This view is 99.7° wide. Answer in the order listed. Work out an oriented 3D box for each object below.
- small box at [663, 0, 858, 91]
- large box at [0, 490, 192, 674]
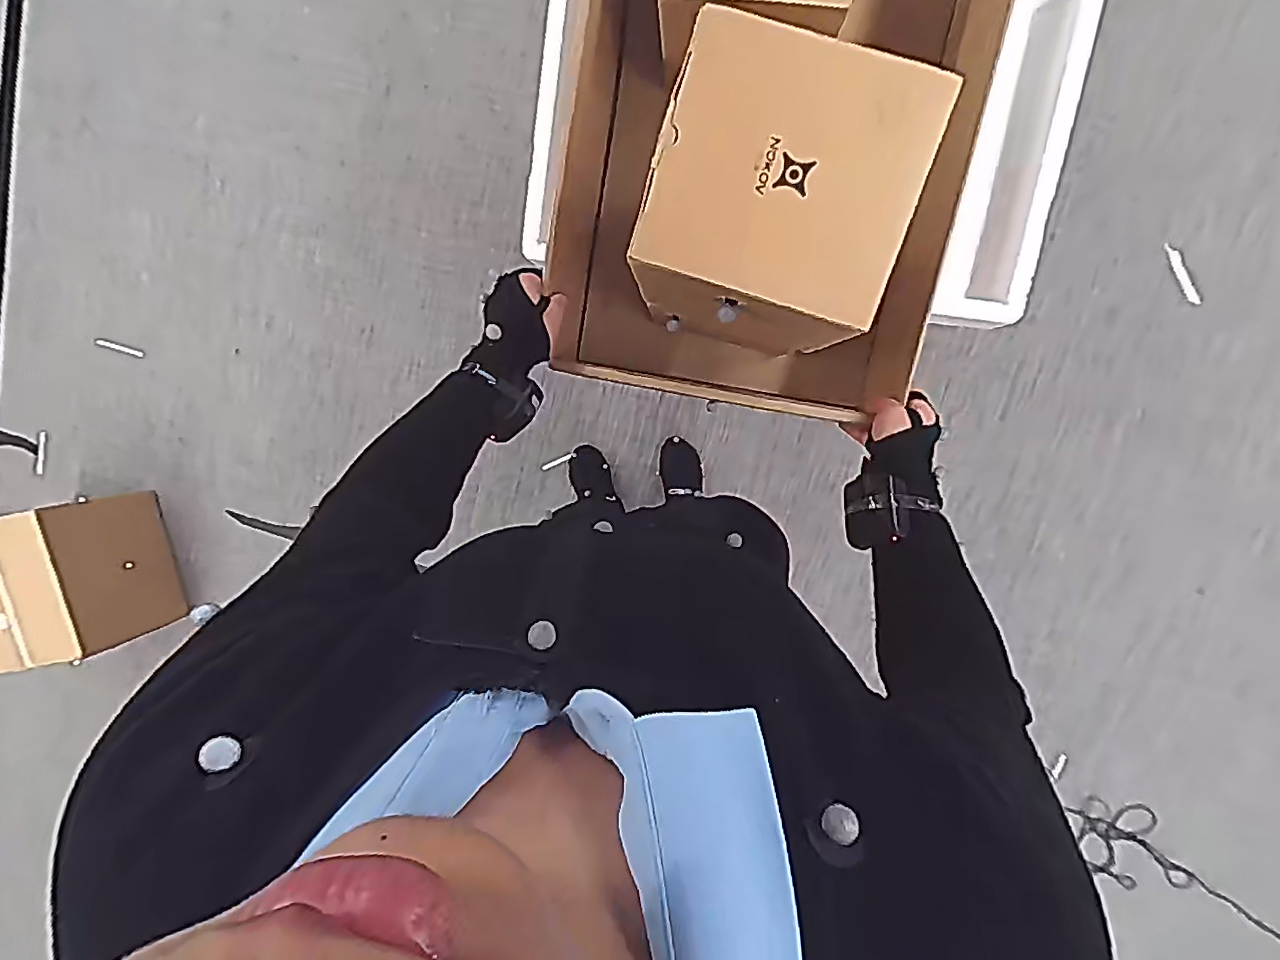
[{"bbox_3d":[0.120,-0.522,0.538,0.179,0.176,0.168,7,101,3],"label":"small box"},{"bbox_3d":[-1.590,0.270,1.529,0.320,0.320,0.408,-11,98,8],"label":"large box"}]
